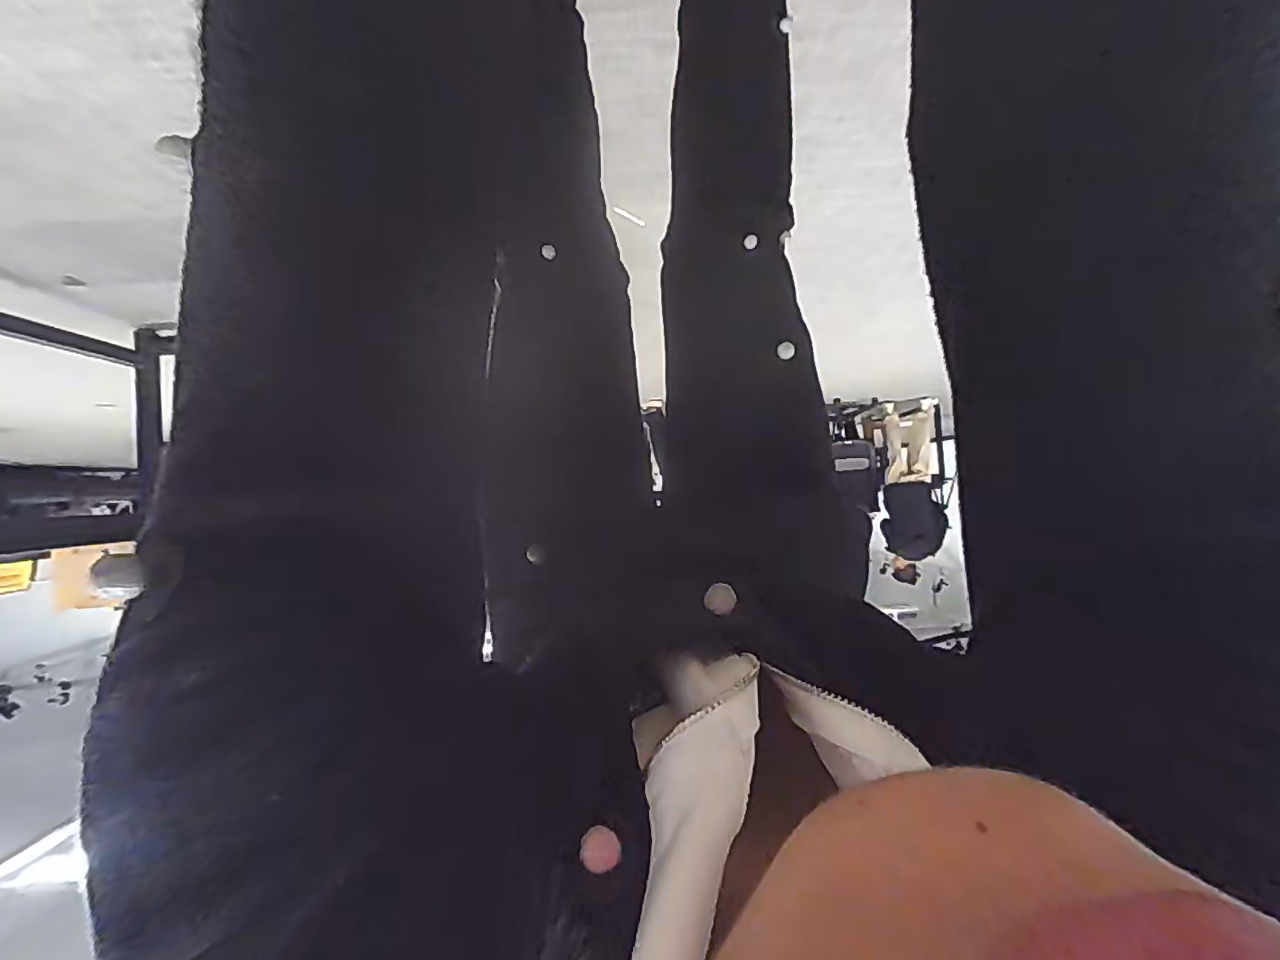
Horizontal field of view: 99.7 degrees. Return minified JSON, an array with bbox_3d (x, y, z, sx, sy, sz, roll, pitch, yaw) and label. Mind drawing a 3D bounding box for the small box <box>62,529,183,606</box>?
[{"bbox_3d":[-1.371,0.227,1.435,0.168,0.176,0.179,-3,180,-1],"label":"small box"}]
